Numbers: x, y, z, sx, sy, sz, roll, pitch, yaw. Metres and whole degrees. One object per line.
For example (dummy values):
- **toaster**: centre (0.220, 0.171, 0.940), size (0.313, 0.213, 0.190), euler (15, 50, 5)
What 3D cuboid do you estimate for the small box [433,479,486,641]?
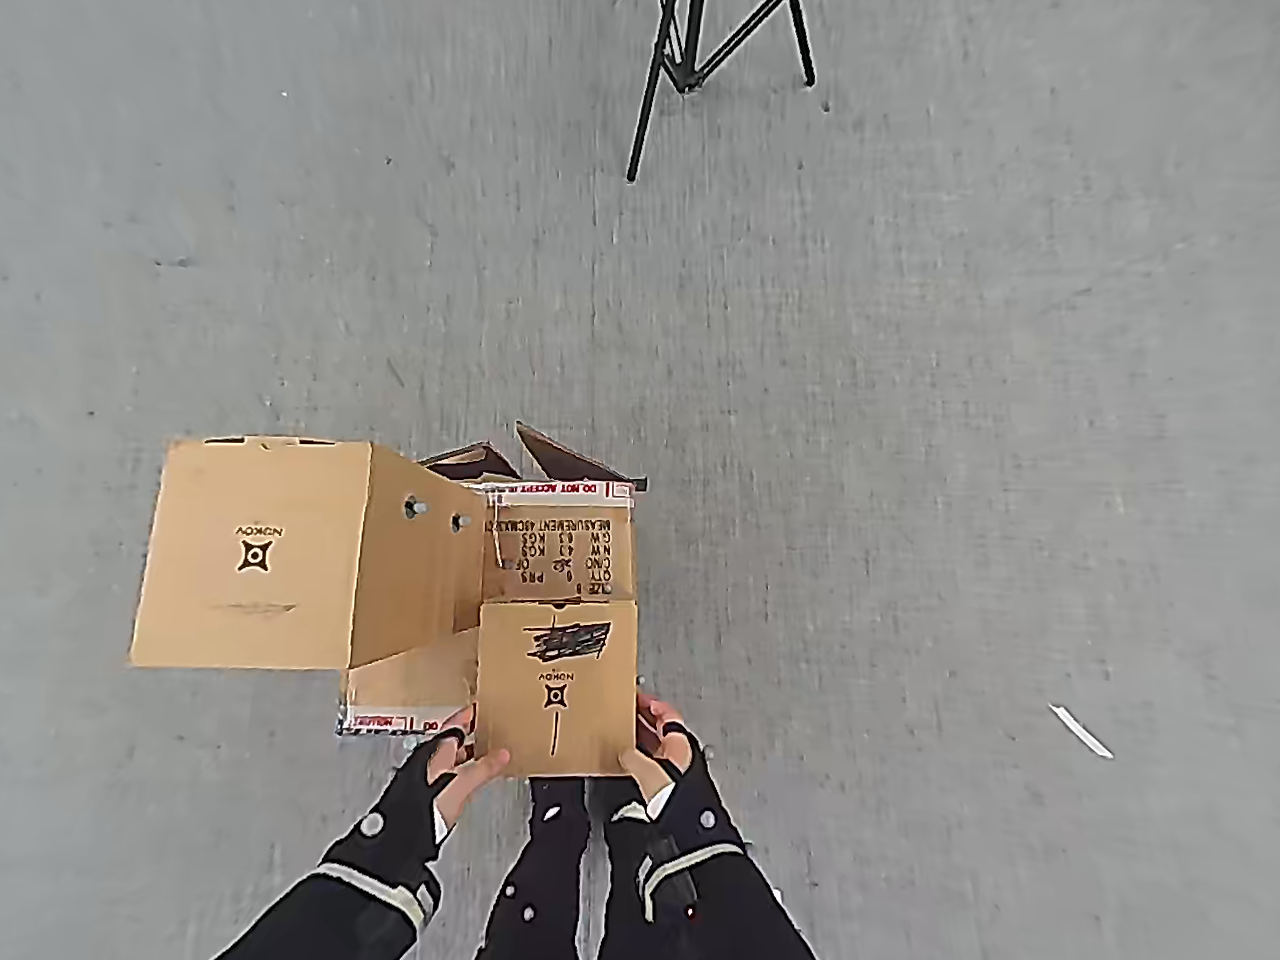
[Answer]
- **small box**: centre (-0.293, 0.097, 0.660), size (0.168, 0.176, 0.179), euler (1, 80, 0)

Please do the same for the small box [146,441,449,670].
- **small box**: centre (-0.288, 0.070, 0.500), size (0.168, 0.176, 0.179), euler (1, 81, 1)

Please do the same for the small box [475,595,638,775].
- **small box**: centre (-0.090, 0.229, 0.644), size (0.168, 0.176, 0.179), euler (1, 81, -2)
